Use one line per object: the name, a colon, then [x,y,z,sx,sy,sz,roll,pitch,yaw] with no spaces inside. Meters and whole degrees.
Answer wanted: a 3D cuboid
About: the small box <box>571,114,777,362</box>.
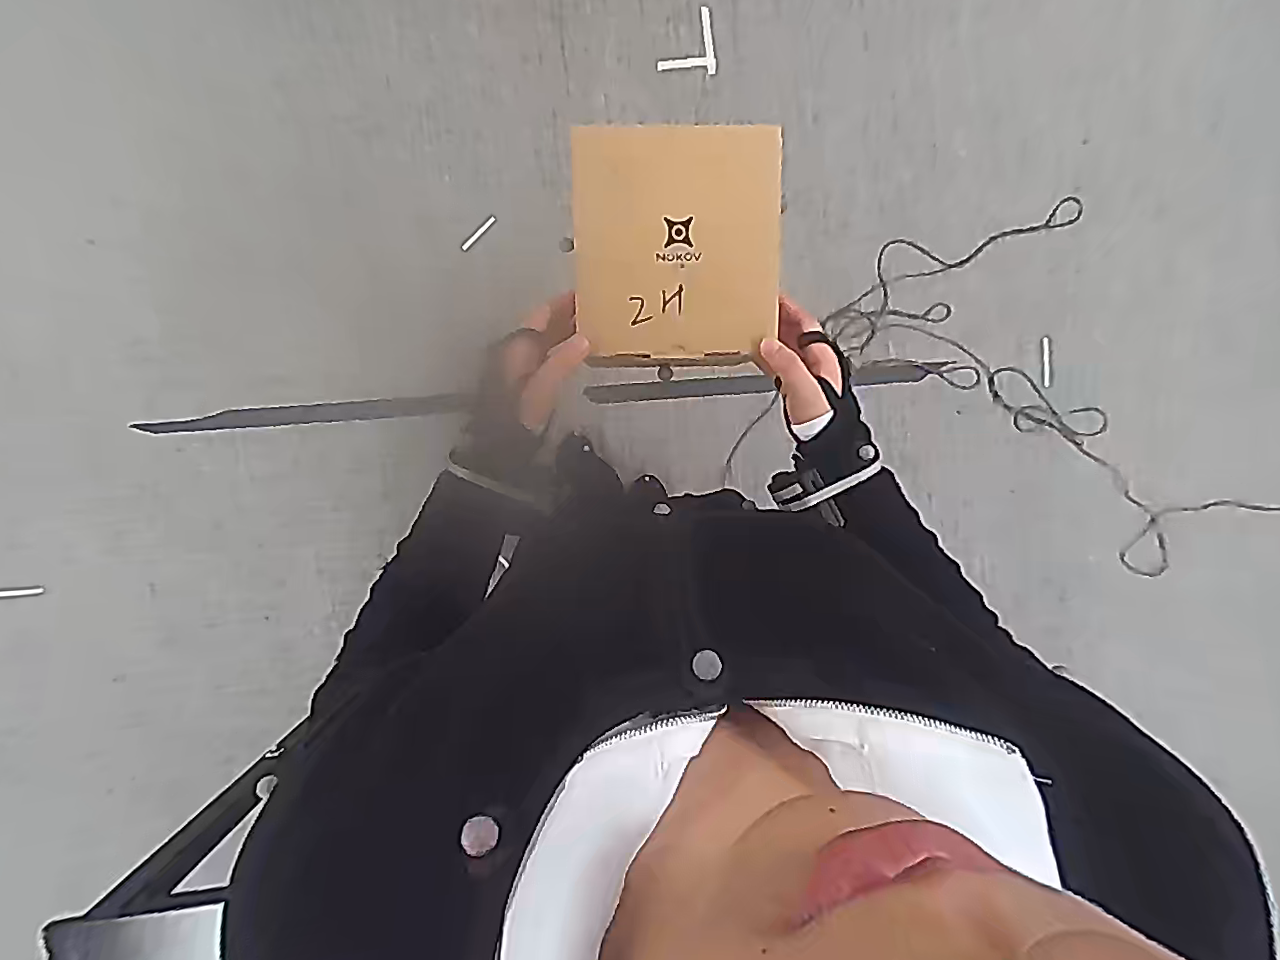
small box: [0.025,-0.208,0.510,0.168,0.176,0.179,-1,98,-1]
